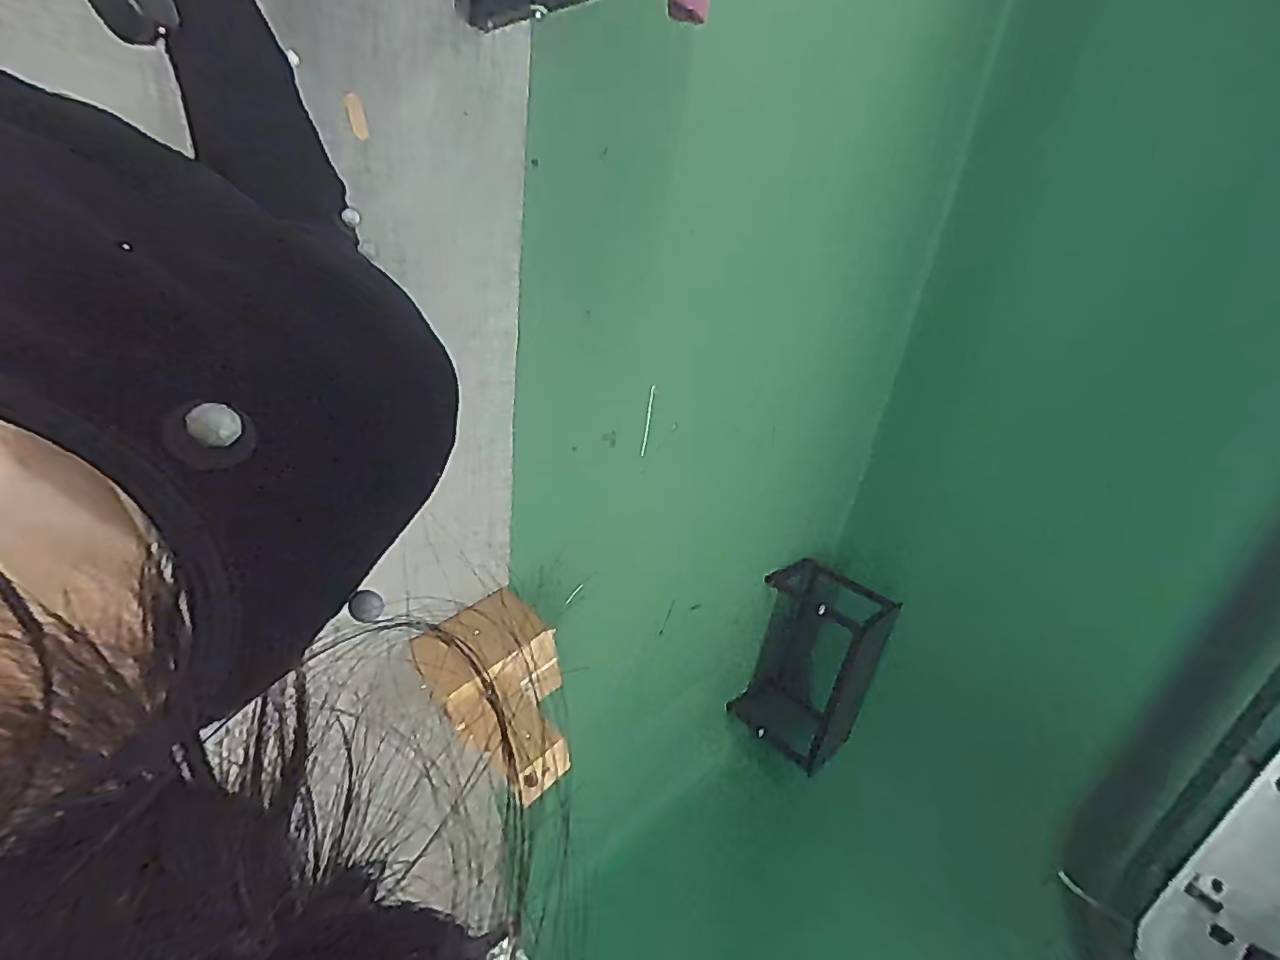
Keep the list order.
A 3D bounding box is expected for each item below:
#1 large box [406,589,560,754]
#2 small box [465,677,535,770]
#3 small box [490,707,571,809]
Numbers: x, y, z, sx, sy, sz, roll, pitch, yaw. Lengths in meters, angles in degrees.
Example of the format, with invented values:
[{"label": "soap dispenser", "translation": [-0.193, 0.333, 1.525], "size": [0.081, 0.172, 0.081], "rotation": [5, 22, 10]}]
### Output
[{"label": "large box", "translation": [-0.557, 0.672, 1.957], "size": [0.408, 0.320, 0.320], "rotation": [-30, 132, -35]}, {"label": "small box", "translation": [-0.450, 0.778, 1.744], "size": [0.179, 0.176, 0.168], "rotation": [-24, 128, -37]}, {"label": "small box", "translation": [-0.337, 0.835, 1.640], "size": [0.179, 0.176, 0.168], "rotation": [-30, 130, -35]}]
